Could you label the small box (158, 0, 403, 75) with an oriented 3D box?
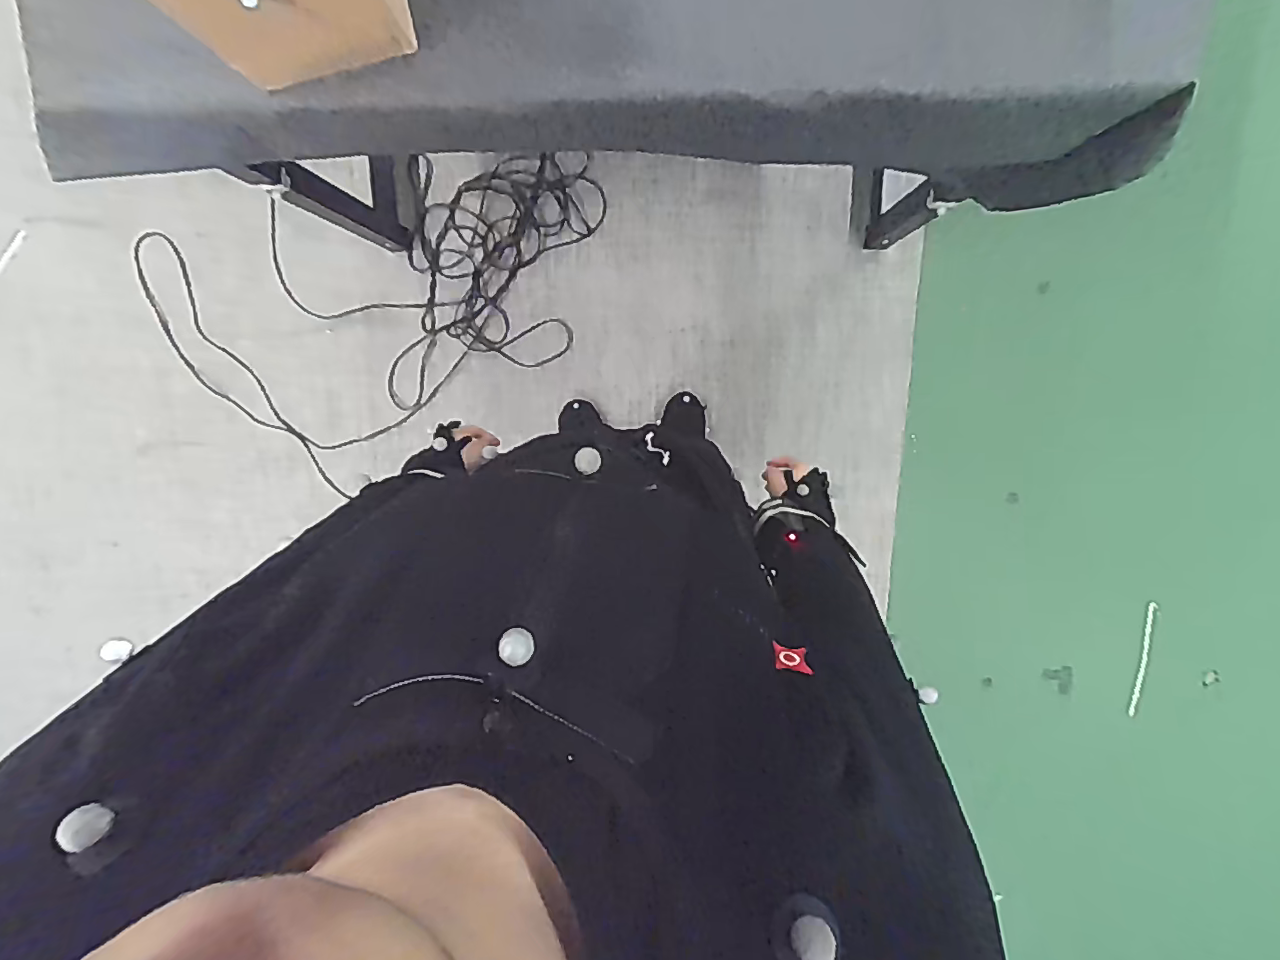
[{"bbox_3d":[-0.330,-0.497,0.465,0.179,0.176,0.168,-11,99,4],"label":"small box"}]
